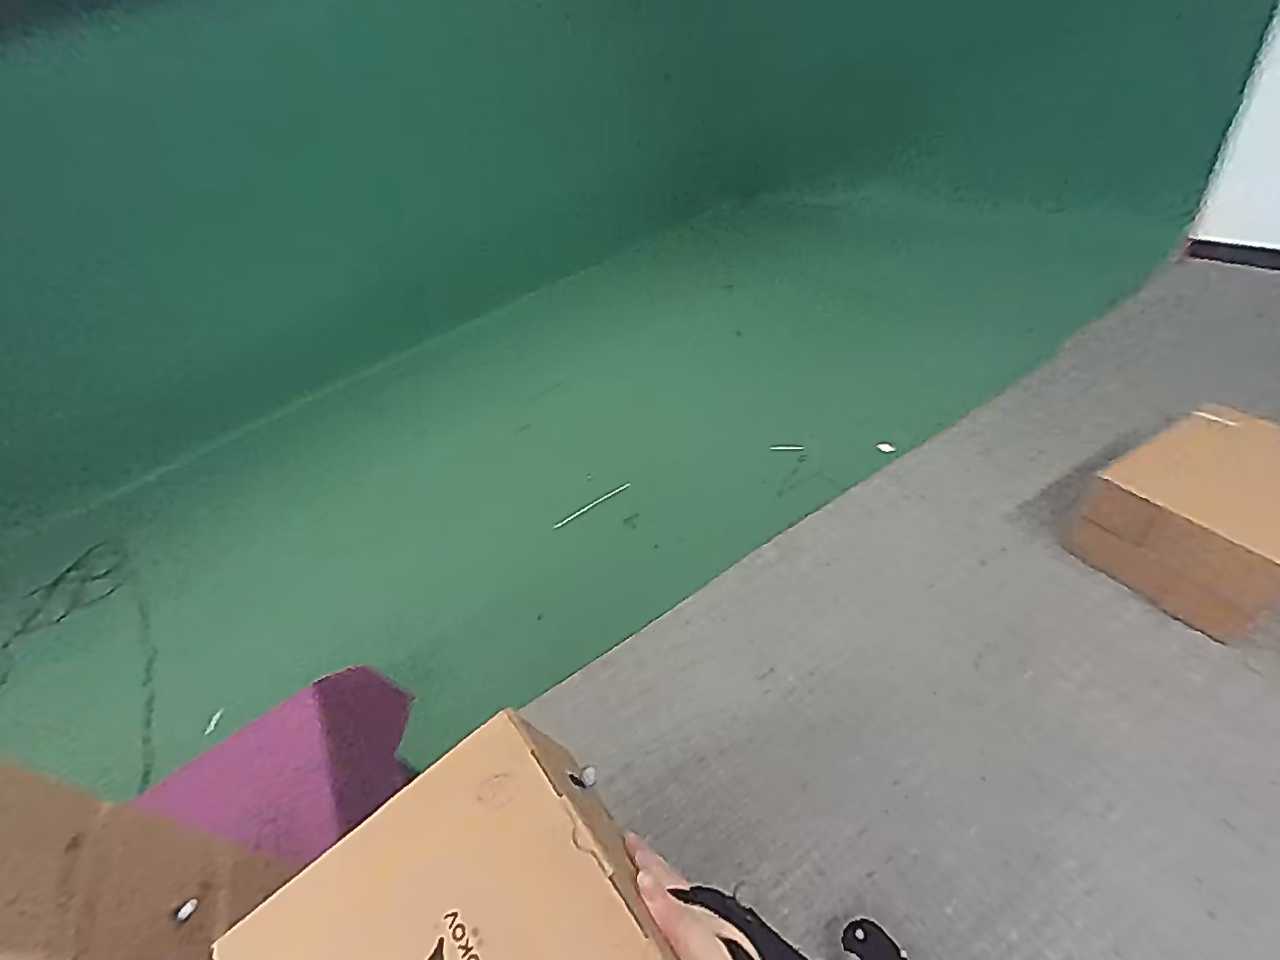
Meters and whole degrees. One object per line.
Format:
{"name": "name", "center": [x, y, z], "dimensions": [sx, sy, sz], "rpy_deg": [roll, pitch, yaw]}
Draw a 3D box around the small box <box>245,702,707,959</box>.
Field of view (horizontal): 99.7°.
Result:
{"name": "small box", "center": [-0.073, 0.269, 0.320], "dimensions": [0.179, 0.176, 0.168], "rpy_deg": [-36, 58, -16]}
